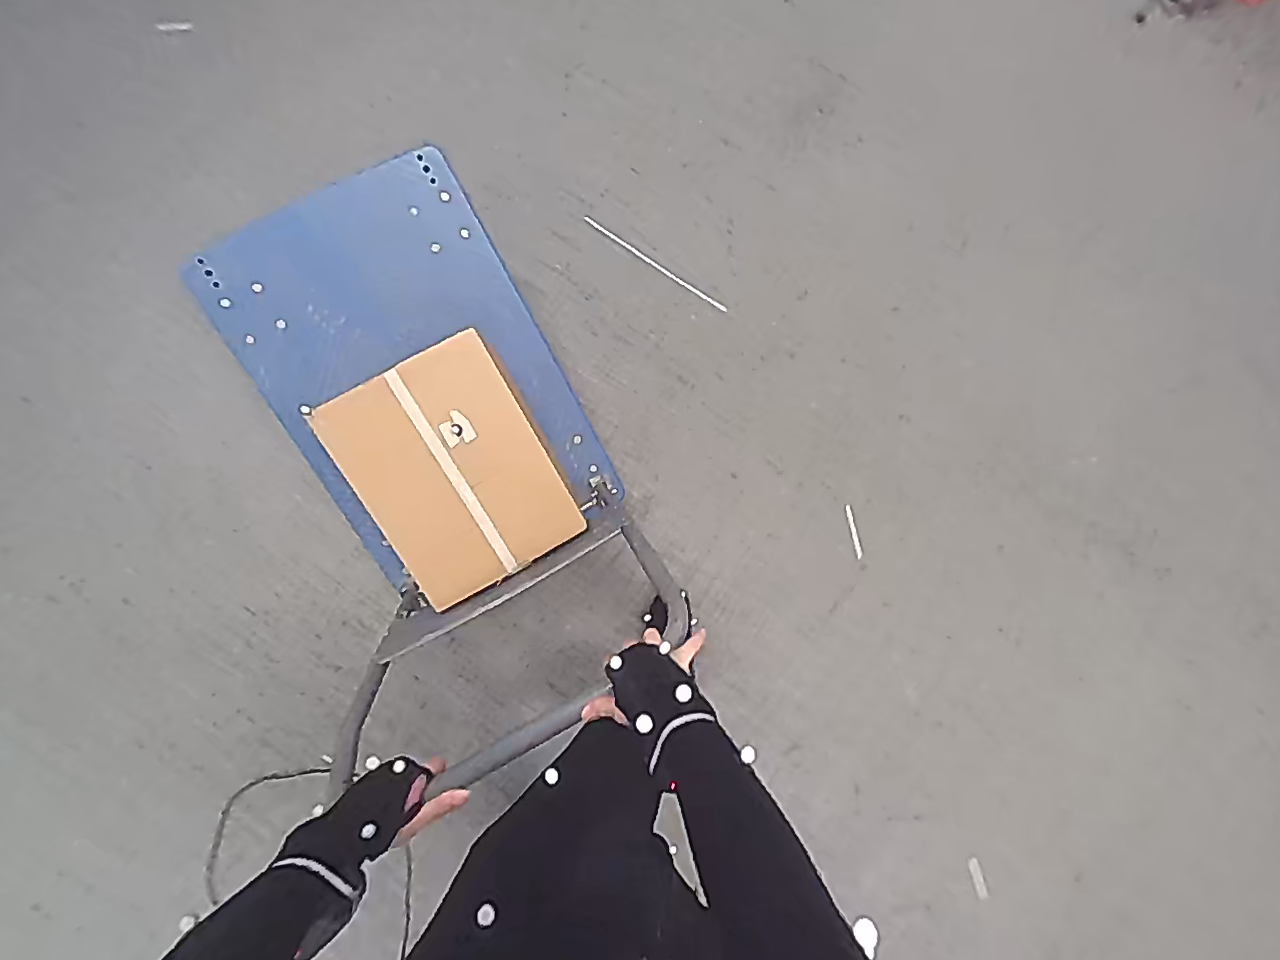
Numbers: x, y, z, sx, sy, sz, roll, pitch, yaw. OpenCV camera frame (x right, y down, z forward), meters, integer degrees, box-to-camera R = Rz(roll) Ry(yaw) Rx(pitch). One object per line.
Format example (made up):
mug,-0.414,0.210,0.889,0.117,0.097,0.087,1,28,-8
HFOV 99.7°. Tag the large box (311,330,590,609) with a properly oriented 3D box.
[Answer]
large box,-0.336,-0.031,1.075,0.320,0.320,0.408,-30,102,-5
